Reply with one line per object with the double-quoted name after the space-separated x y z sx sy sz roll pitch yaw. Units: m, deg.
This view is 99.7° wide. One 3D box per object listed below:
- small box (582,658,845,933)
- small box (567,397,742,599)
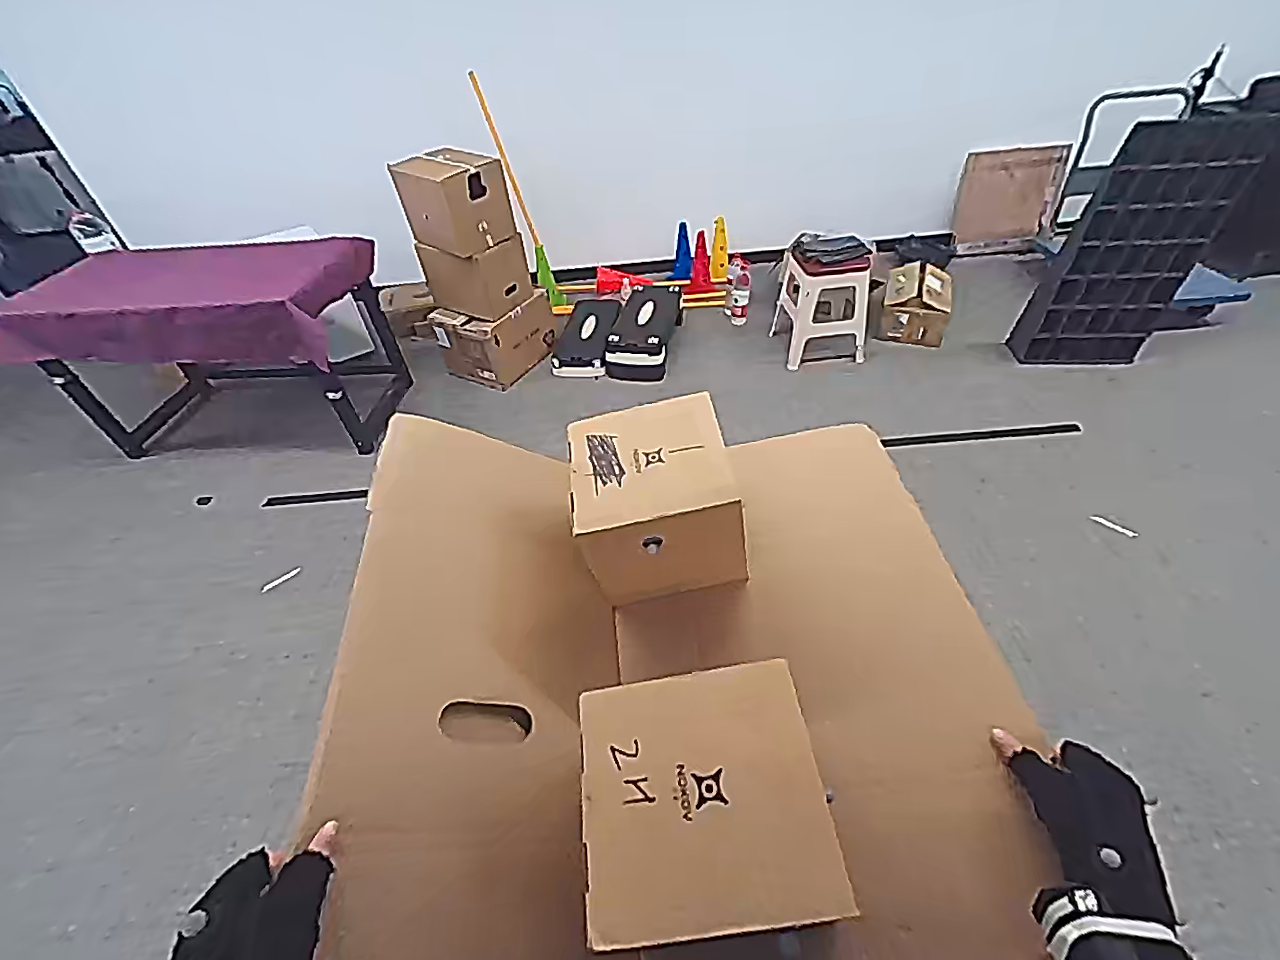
0.058 0.273 0.468 0.179 0.176 0.168 -12 51 6 "small box"
0.020 0.030 0.669 0.179 0.176 0.168 -13 51 4 "small box"
